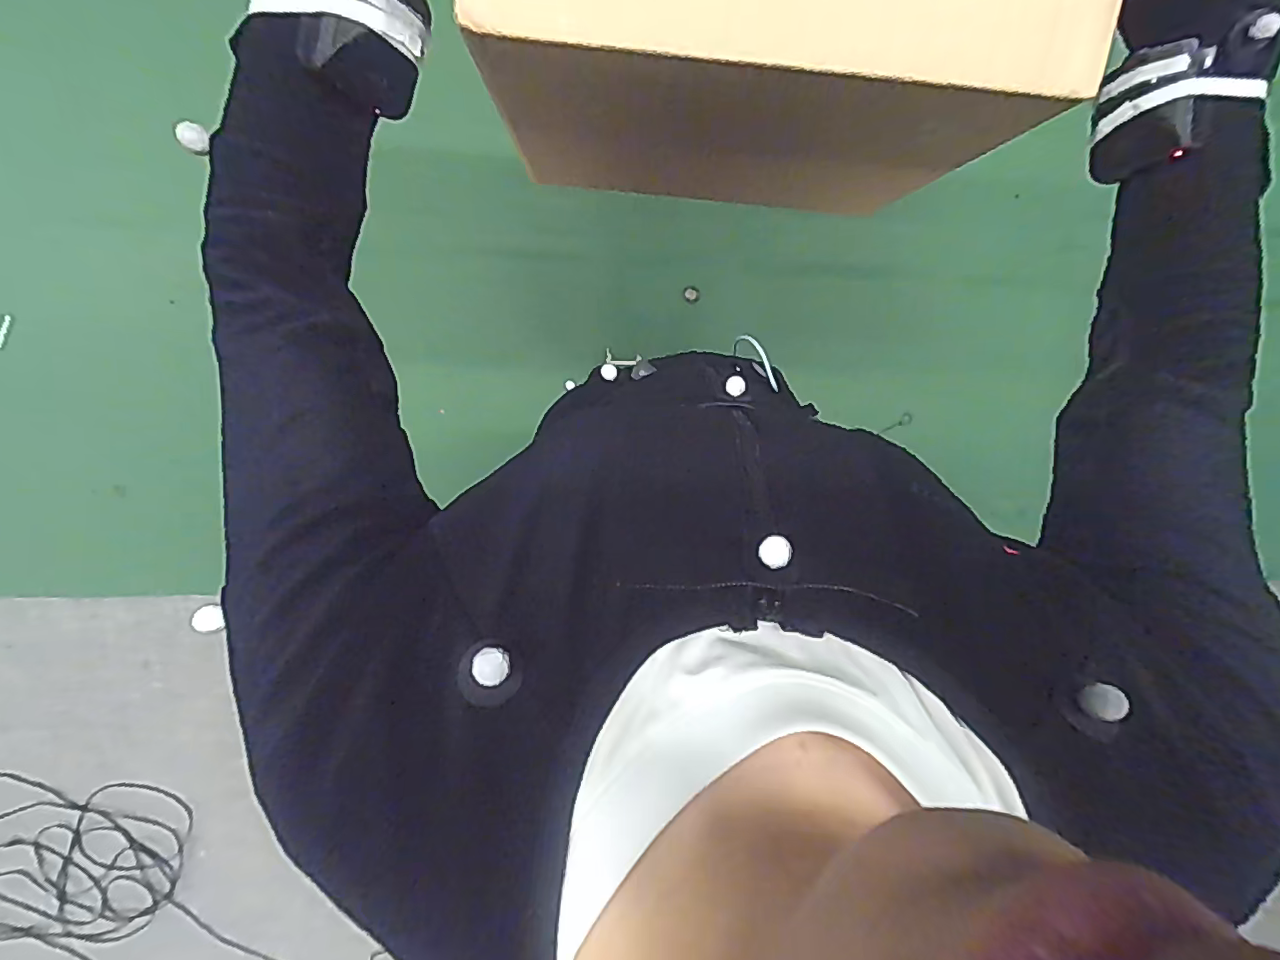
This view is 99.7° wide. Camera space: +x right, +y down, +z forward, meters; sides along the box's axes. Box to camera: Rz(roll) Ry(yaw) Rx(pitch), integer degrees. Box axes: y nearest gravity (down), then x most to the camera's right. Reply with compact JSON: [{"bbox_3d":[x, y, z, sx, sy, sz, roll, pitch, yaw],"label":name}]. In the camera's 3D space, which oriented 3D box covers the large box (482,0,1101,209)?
[{"bbox_3d":[0.095,-0.447,0.458,0.408,0.320,0.320,3,103,-5],"label":"large box"}]
